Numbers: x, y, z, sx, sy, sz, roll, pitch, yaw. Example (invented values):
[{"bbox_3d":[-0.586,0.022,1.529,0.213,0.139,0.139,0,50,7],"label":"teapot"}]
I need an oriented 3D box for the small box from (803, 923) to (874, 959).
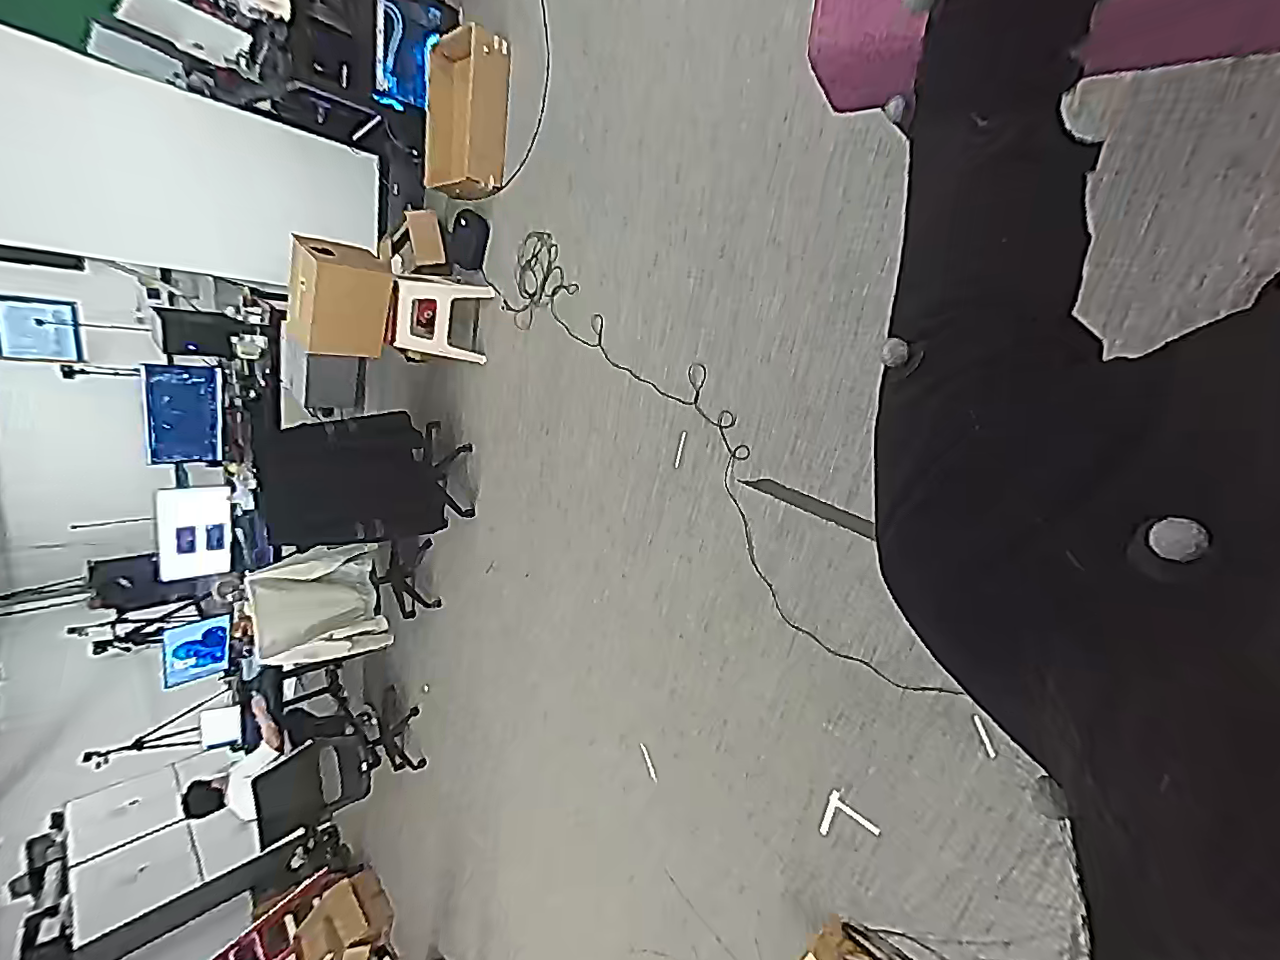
[{"bbox_3d":[0.605,1.516,1.656,0.179,0.176,0.168,38,120,32],"label":"small box"}]
